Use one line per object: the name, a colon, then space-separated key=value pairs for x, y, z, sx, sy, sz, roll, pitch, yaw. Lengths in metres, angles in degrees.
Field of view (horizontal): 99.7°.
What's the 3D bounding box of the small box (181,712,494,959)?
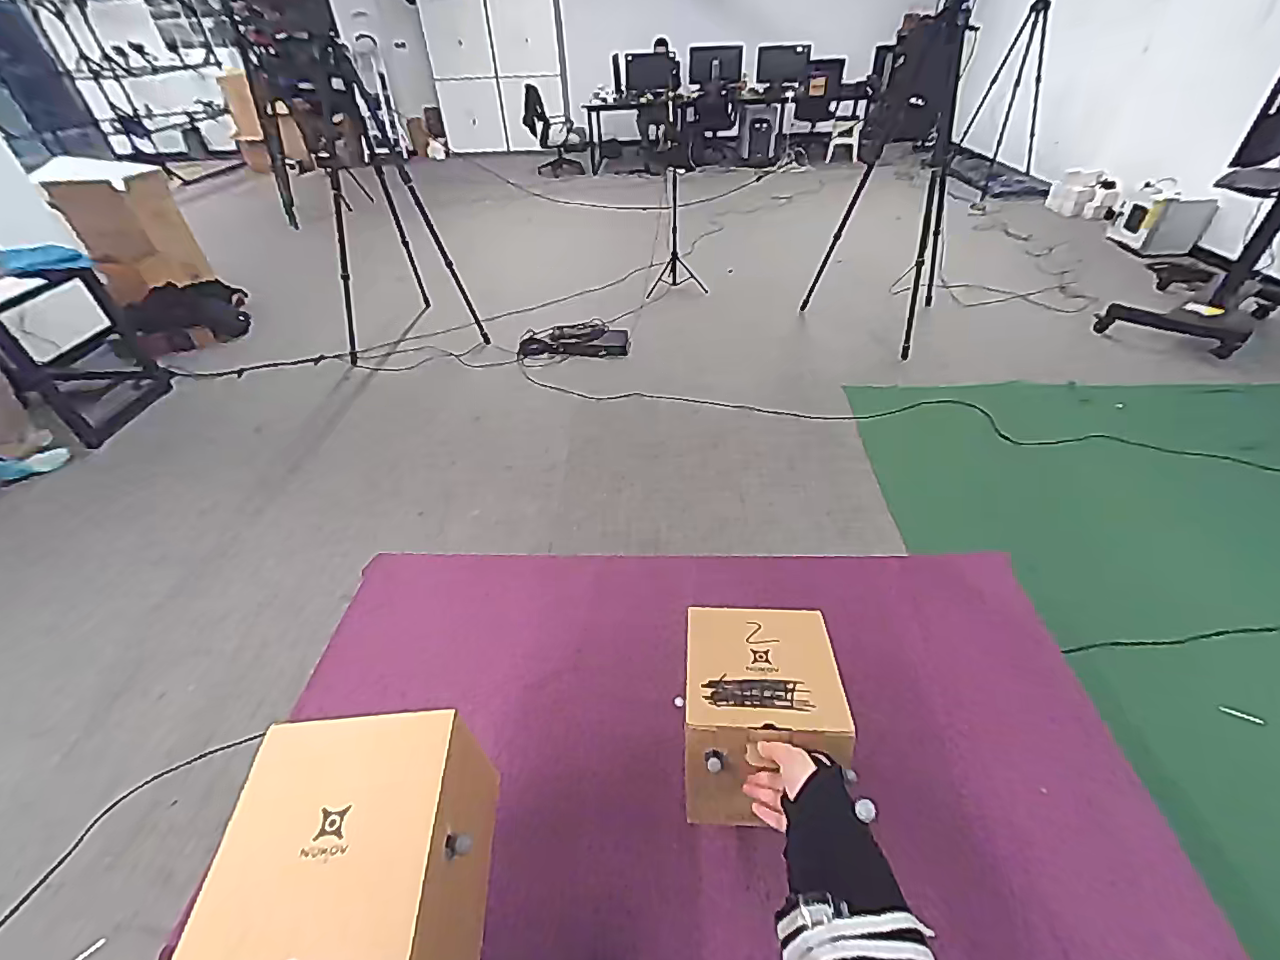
small box: x=-0.237 y=0.334 z=0.485 sx=0.168 sy=0.176 sz=0.179 roll=-5 pitch=45 yaw=0
